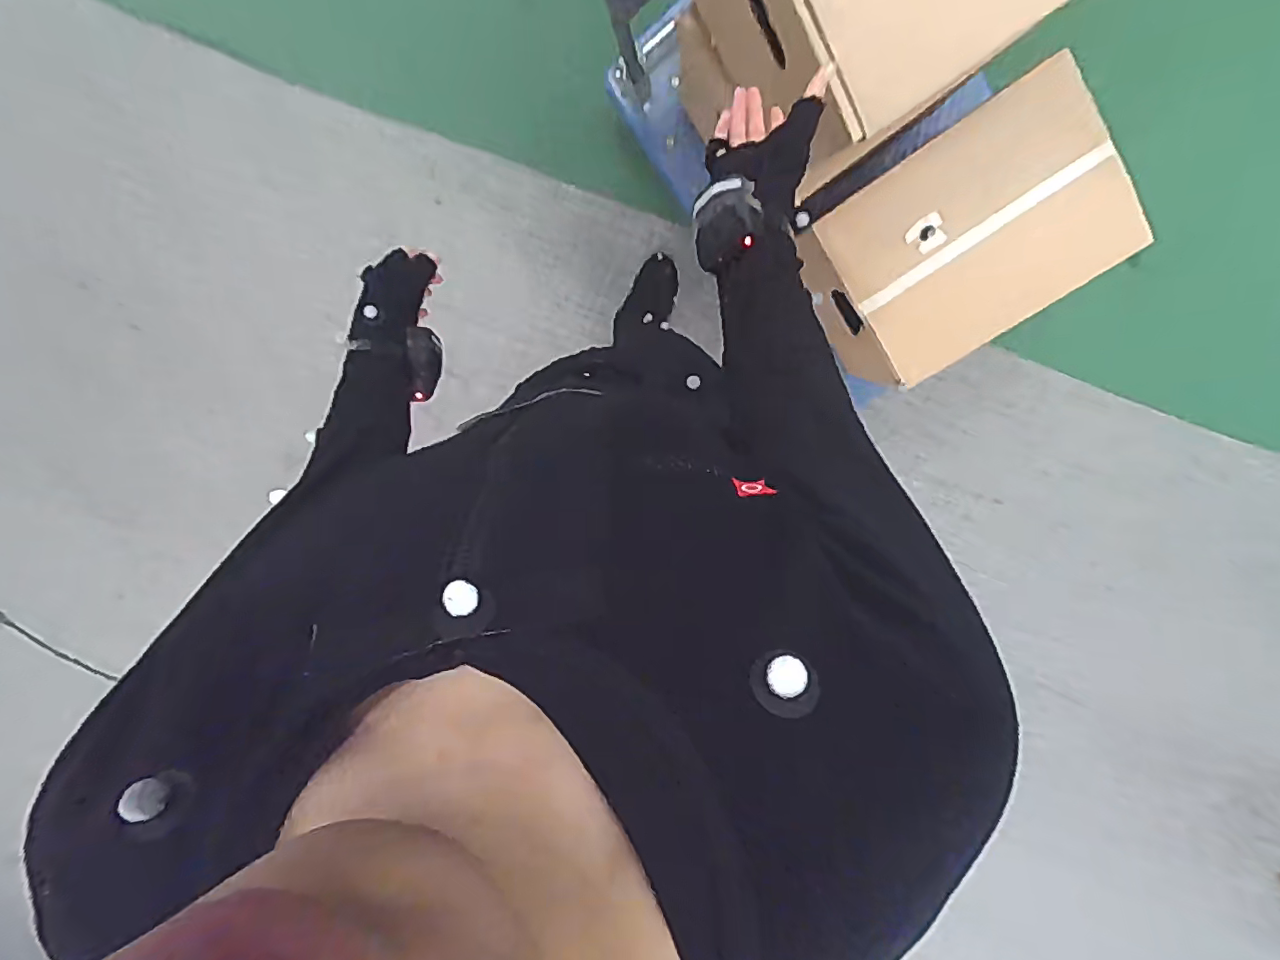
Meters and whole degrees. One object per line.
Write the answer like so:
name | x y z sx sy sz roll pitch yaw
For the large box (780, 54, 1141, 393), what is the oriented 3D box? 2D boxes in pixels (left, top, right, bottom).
large box | 0.520 -0.414 0.966 0.408 0.320 0.320 -33 100 14
